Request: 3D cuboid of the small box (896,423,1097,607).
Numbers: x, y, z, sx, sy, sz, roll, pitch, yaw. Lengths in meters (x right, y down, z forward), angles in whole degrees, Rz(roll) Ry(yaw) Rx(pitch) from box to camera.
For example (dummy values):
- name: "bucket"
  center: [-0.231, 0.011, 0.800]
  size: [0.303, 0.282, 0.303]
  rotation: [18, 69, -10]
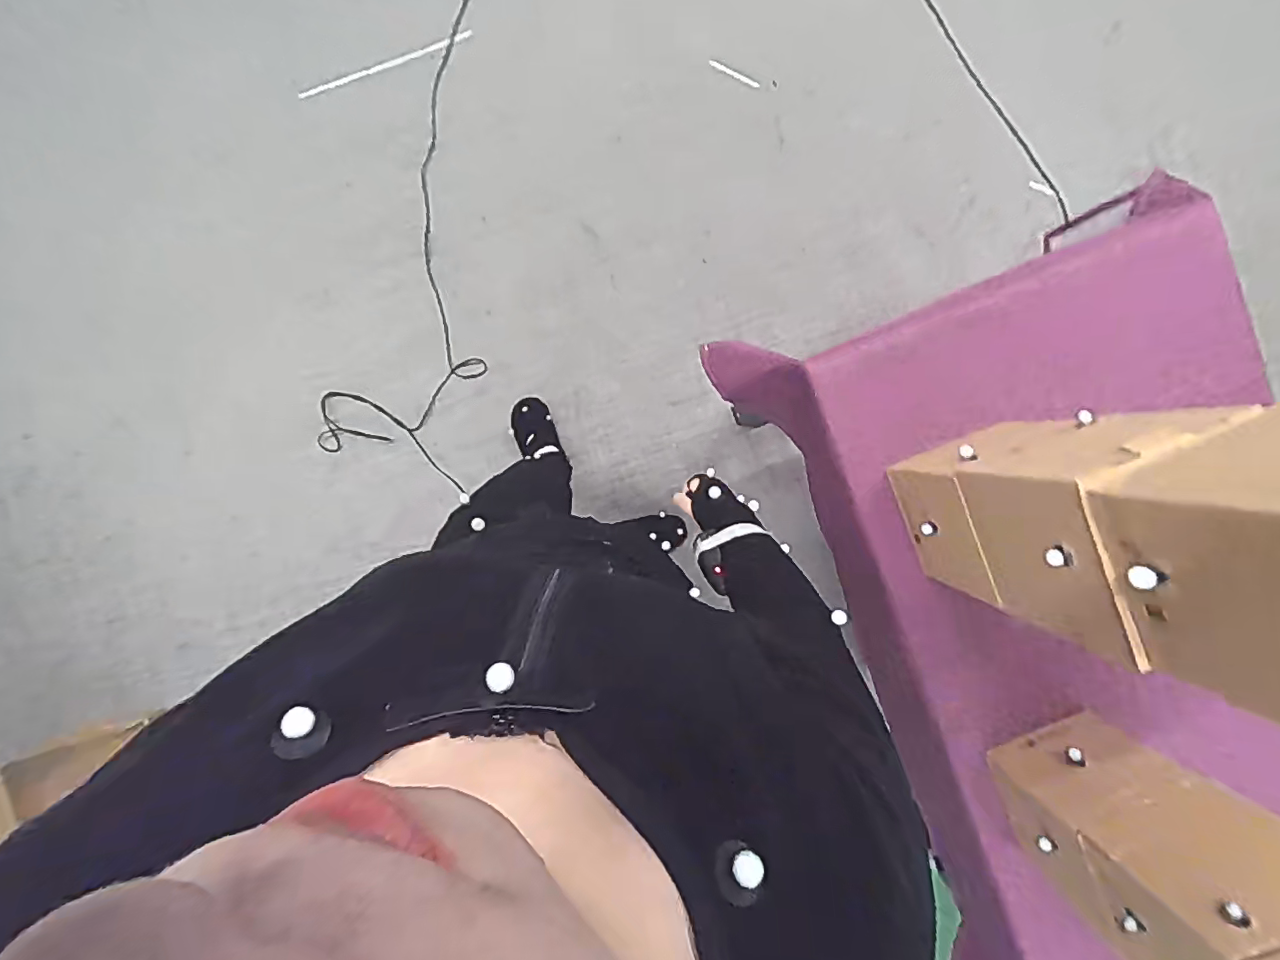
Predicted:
- name: "small box"
  center: [0.454, 0.036, 0.687]
  size: [0.179, 0.176, 0.168]
  rotation: [-21, 95, 1]

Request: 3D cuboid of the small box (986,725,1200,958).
- name: "small box"
  center: [0.606, 0.456, 0.718]
  size: [0.168, 0.176, 0.179]
  rotation: [-22, 93, 2]

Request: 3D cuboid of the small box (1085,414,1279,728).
- name: "small box"
  center: [0.464, 0.055, 0.360]
  size: [0.179, 0.176, 0.168]
  rotation: [-23, 93, 2]

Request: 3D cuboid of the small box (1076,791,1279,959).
- name: "small box"
  center: [0.612, 0.462, 0.554]
  size: [0.179, 0.176, 0.168]
  rotation: [-20, 94, 2]

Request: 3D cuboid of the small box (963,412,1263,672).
- name: "small box"
  center: [0.454, 0.047, 0.522]
  size: [0.168, 0.176, 0.179]
  rotation: [-21, 95, 1]
